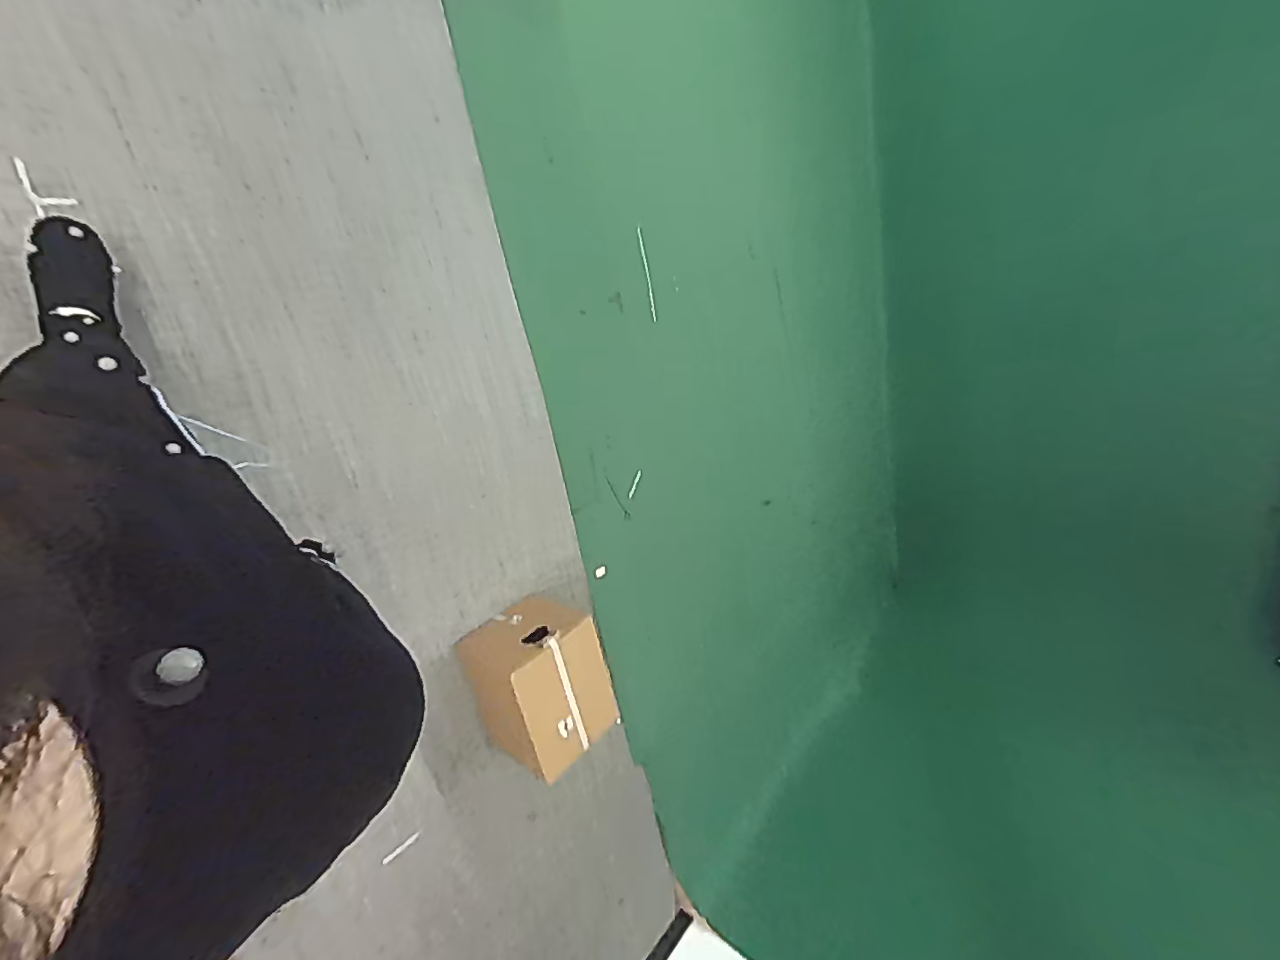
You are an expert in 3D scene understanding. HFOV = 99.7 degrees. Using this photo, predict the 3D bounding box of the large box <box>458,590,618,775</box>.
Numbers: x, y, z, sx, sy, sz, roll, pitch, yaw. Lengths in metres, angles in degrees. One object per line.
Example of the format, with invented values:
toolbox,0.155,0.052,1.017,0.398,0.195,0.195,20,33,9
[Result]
large box,-0.321,0.623,1.729,0.320,0.320,0.408,-30,116,-41
